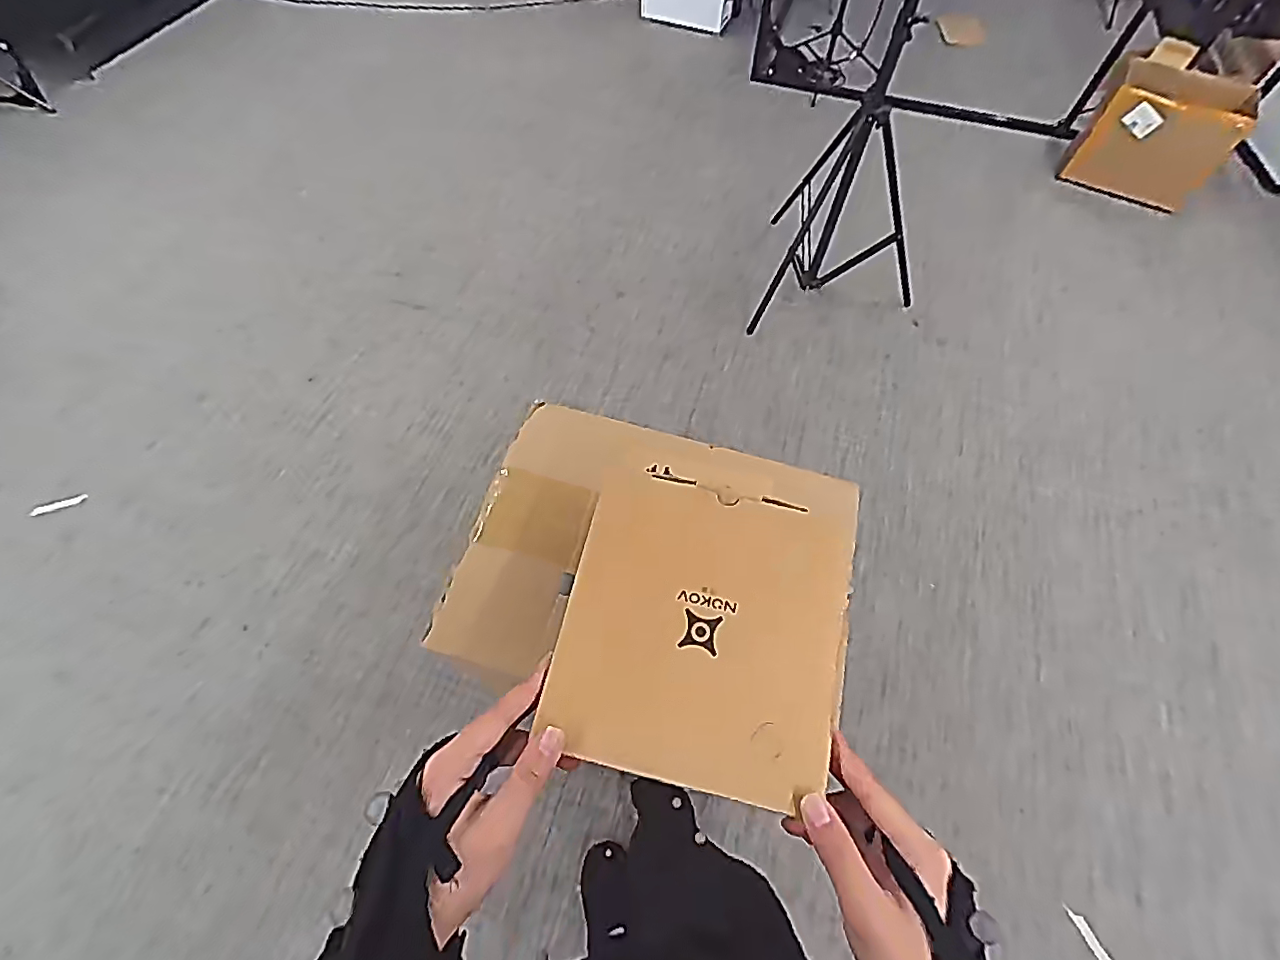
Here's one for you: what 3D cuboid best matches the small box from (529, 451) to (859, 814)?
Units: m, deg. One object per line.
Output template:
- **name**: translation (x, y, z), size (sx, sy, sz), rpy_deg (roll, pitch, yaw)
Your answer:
- **small box**: translation (0.038, 0.105, 0.389), size (0.168, 0.176, 0.179), rpy_deg (12, 70, 4)
